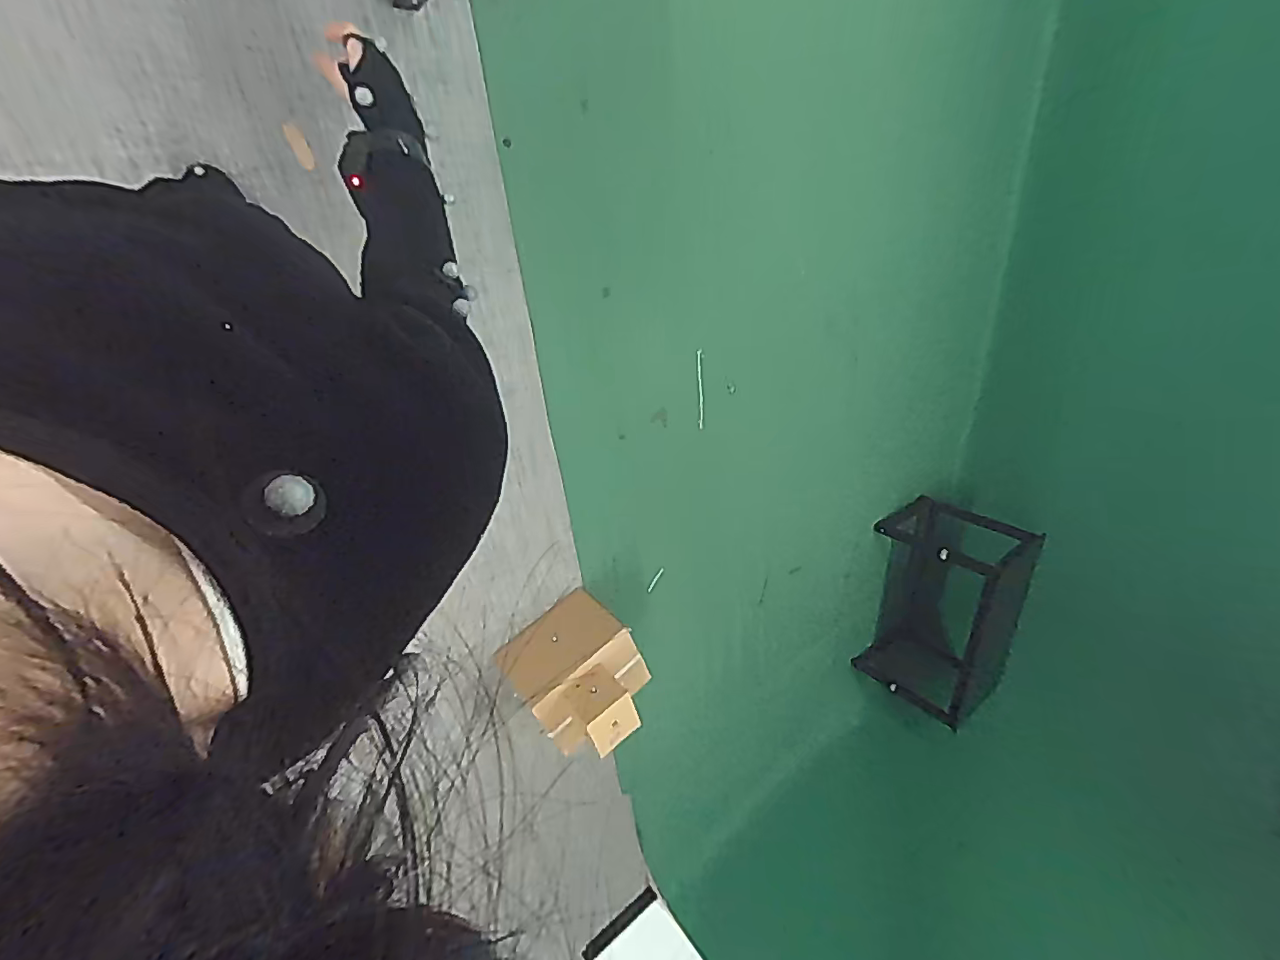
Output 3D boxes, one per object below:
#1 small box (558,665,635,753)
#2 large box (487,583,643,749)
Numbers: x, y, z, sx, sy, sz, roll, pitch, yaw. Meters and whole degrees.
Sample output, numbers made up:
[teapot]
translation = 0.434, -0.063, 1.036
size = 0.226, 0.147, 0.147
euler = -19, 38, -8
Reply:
[small box]
translation = -0.143, 0.729, 1.752
size = 0.168, 0.176, 0.179
euler = -31, 126, -25
[large box]
translation = -0.266, 0.659, 1.959
size = 0.408, 0.320, 0.320
euler = -38, 130, -23
